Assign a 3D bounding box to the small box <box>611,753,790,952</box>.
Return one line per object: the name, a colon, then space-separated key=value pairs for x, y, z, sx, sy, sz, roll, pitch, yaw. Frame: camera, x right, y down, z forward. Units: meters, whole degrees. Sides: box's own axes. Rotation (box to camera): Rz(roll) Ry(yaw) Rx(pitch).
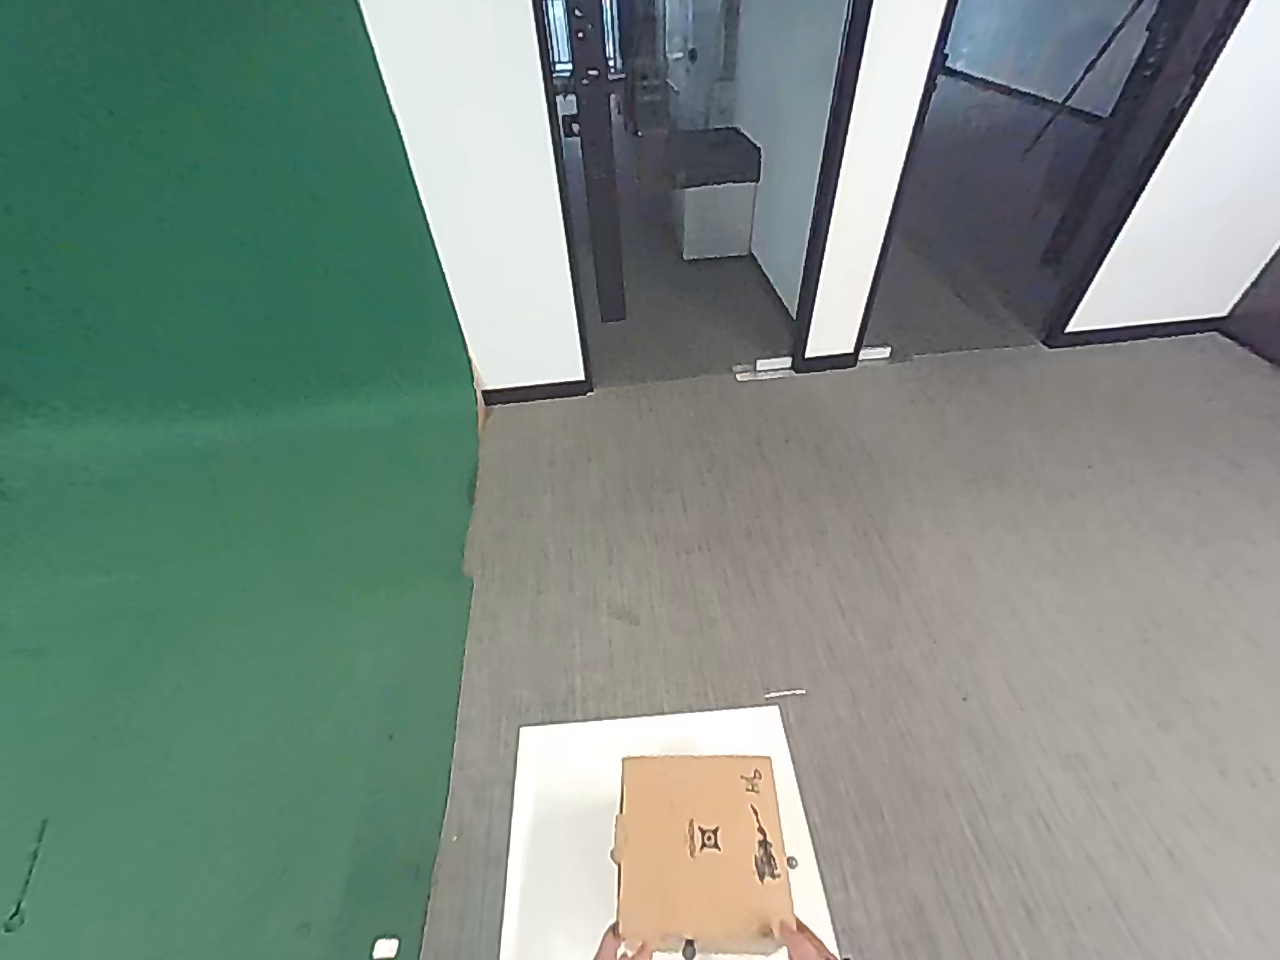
small box: x=0.065 y=0.435 z=0.630 sx=0.179 sy=0.176 sz=0.168 roll=-1 pitch=45 yaw=3
